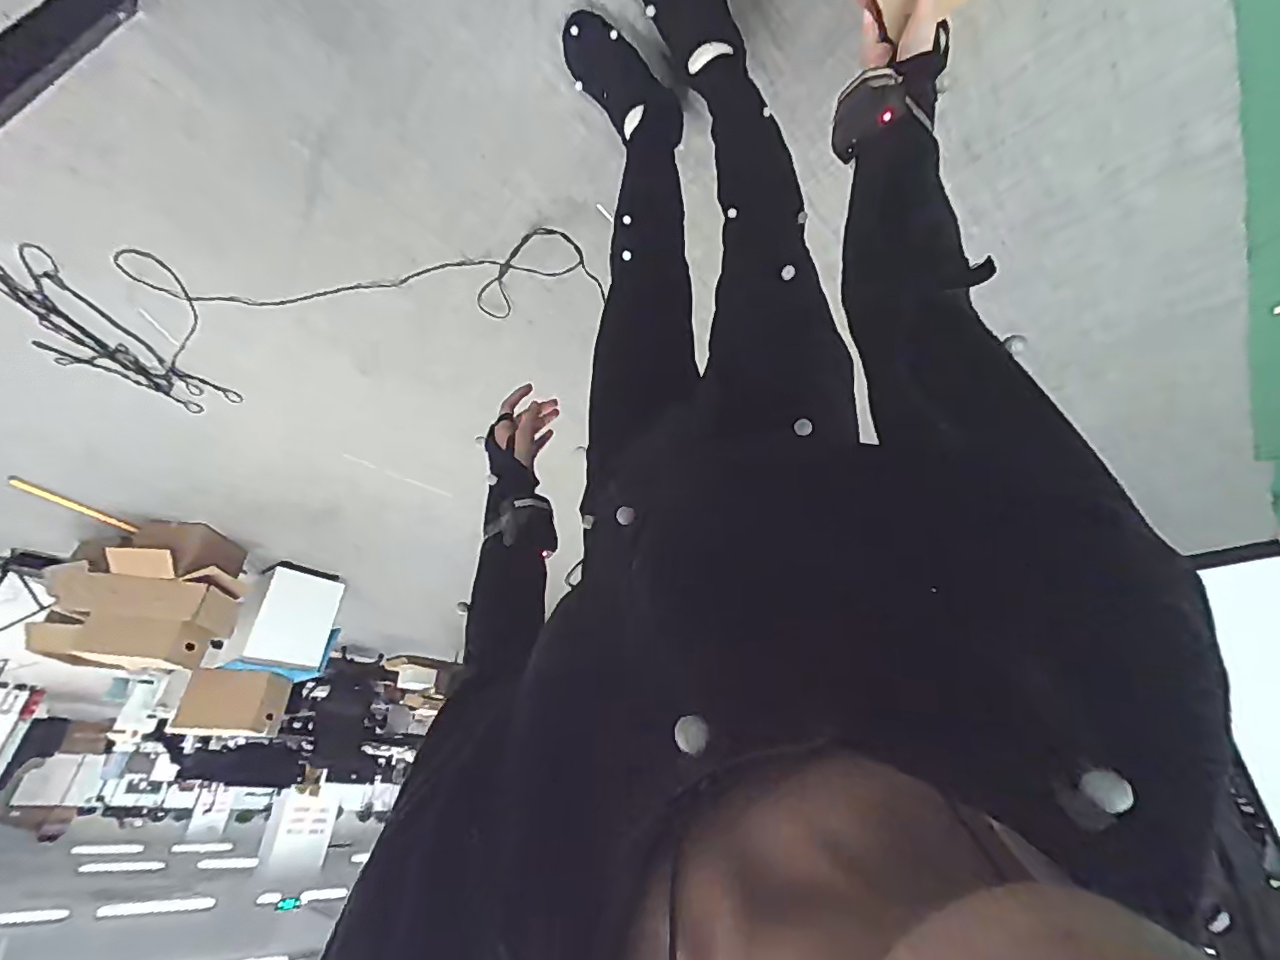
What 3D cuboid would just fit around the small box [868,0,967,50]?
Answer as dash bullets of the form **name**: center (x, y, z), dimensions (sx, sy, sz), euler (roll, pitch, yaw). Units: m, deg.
- **small box**: center (0.257, -0.548, 0.472), dimensions (0.168, 0.176, 0.179), euler (-23, 142, 36)
